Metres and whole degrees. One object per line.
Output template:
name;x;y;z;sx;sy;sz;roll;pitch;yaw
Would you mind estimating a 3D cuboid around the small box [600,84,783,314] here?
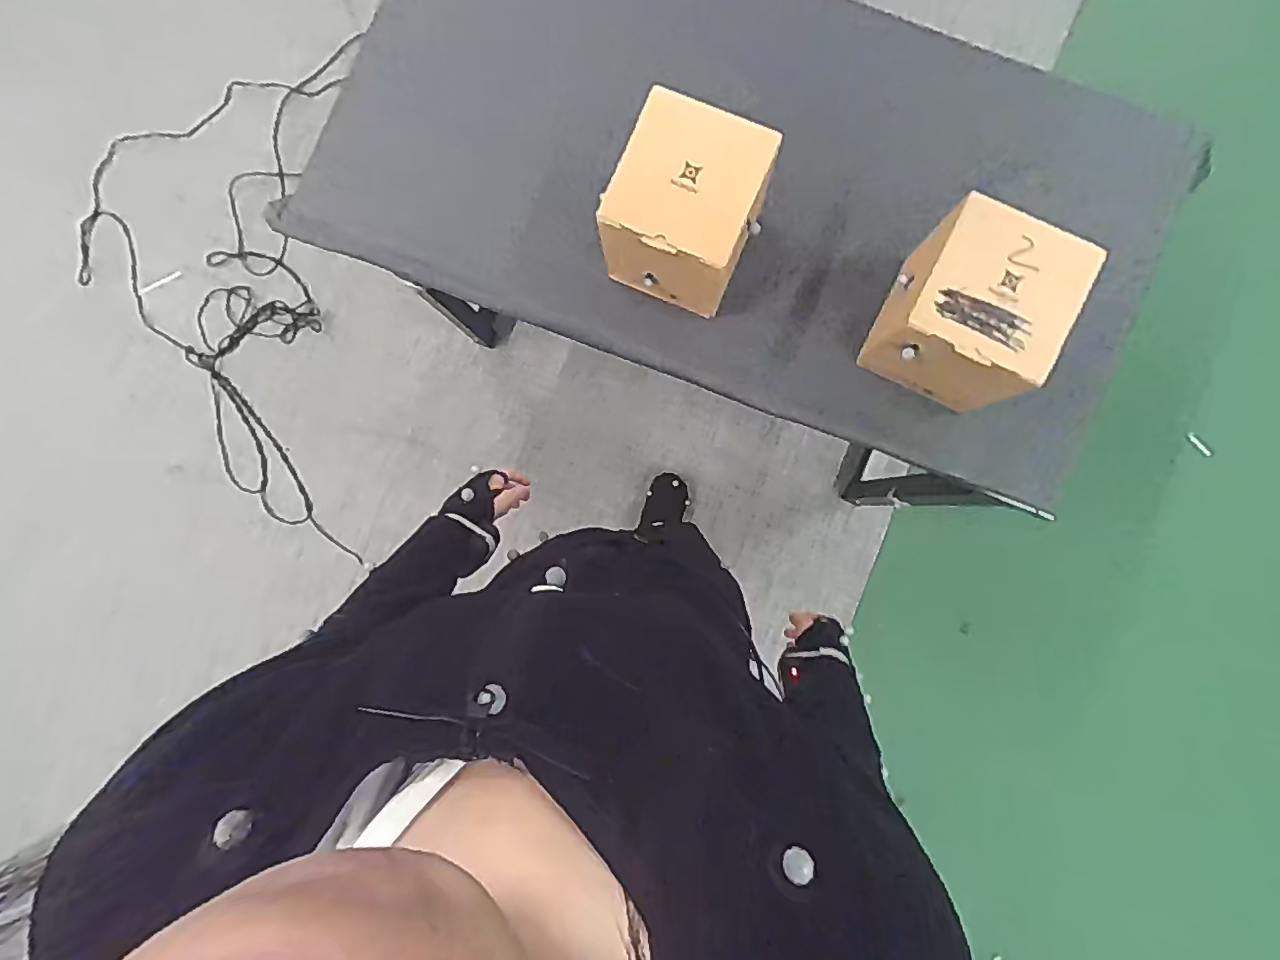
small box;0.059;-0.348;0.705;0.168;0.176;0.179;23;88;1
